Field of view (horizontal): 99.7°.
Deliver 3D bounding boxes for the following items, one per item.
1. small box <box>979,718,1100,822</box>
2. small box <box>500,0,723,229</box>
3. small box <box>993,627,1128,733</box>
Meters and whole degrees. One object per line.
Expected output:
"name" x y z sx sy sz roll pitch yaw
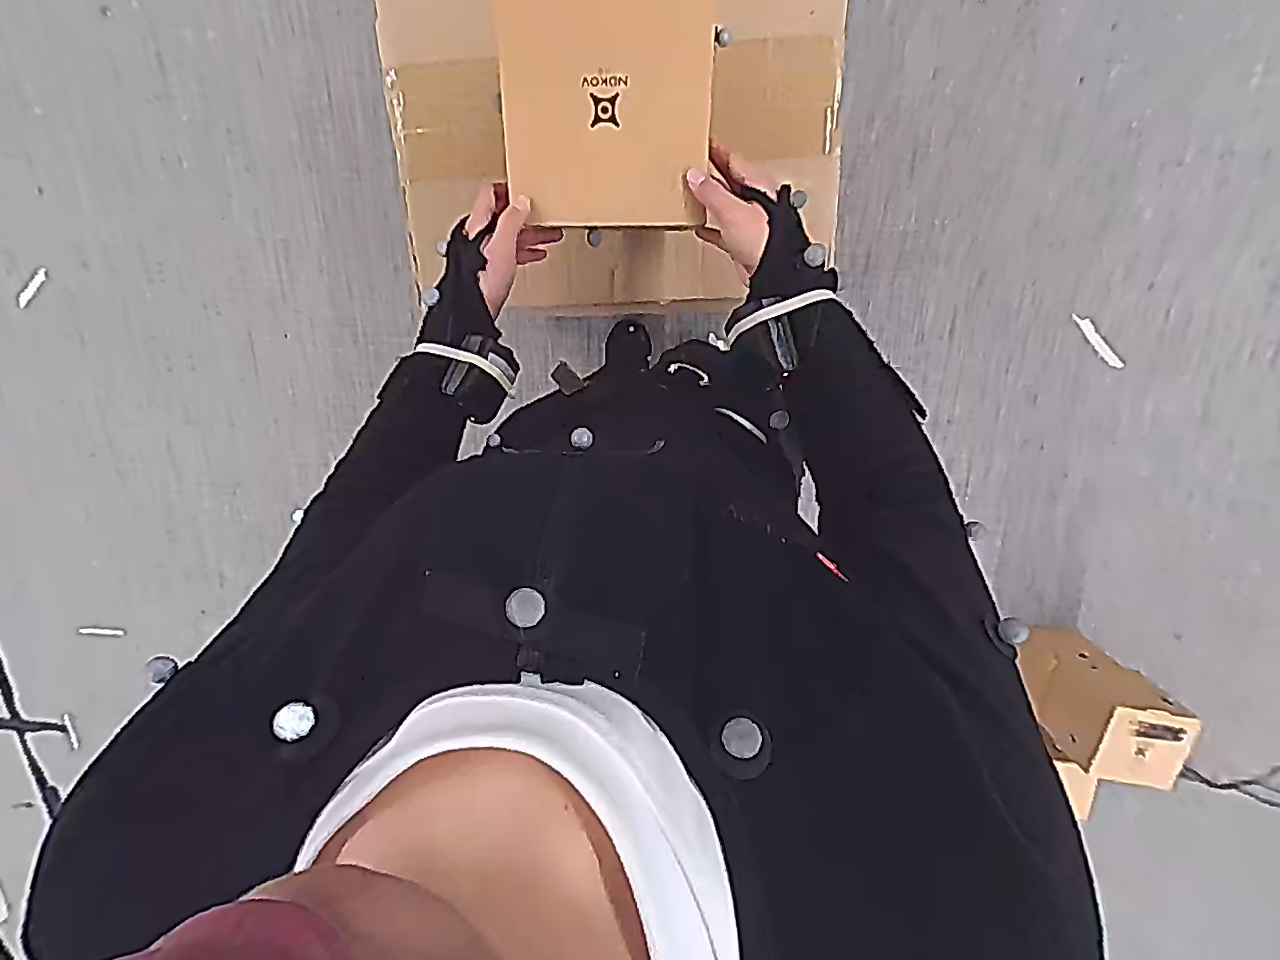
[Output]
"small box" 1.020 0.740 1.396 0.179 0.176 0.168 3 103 5
"small box" -0.015 -0.325 0.486 0.168 0.176 0.179 2 112 4
"small box" 1.020 0.483 1.329 0.179 0.176 0.168 9 105 4
